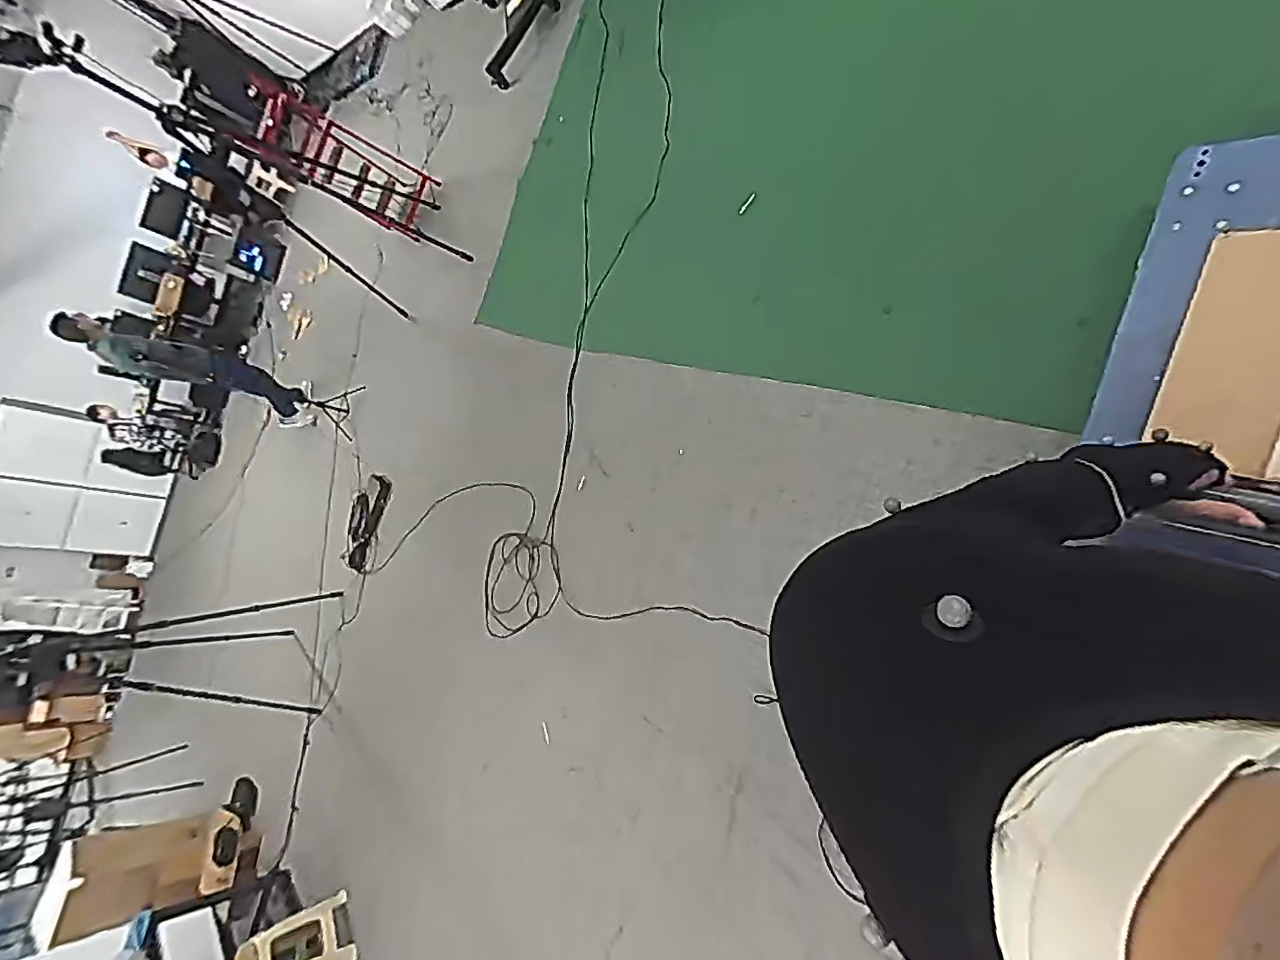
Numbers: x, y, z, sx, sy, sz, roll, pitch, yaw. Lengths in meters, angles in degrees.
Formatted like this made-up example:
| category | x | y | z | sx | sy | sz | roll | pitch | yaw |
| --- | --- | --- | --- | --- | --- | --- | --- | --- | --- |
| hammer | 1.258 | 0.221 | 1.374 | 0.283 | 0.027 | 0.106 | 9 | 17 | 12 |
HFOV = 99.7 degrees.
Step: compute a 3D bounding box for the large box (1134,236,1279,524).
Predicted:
| category | x | y | z | sx | sy | sz | roll | pitch | yaw |
| --- | --- | --- | --- | --- | --- | --- | --- | --- | --- |
| large box | 1.104 | -0.150 | 0.923 | 0.320 | 0.320 | 0.408 | 19 | 90 | 41 |
